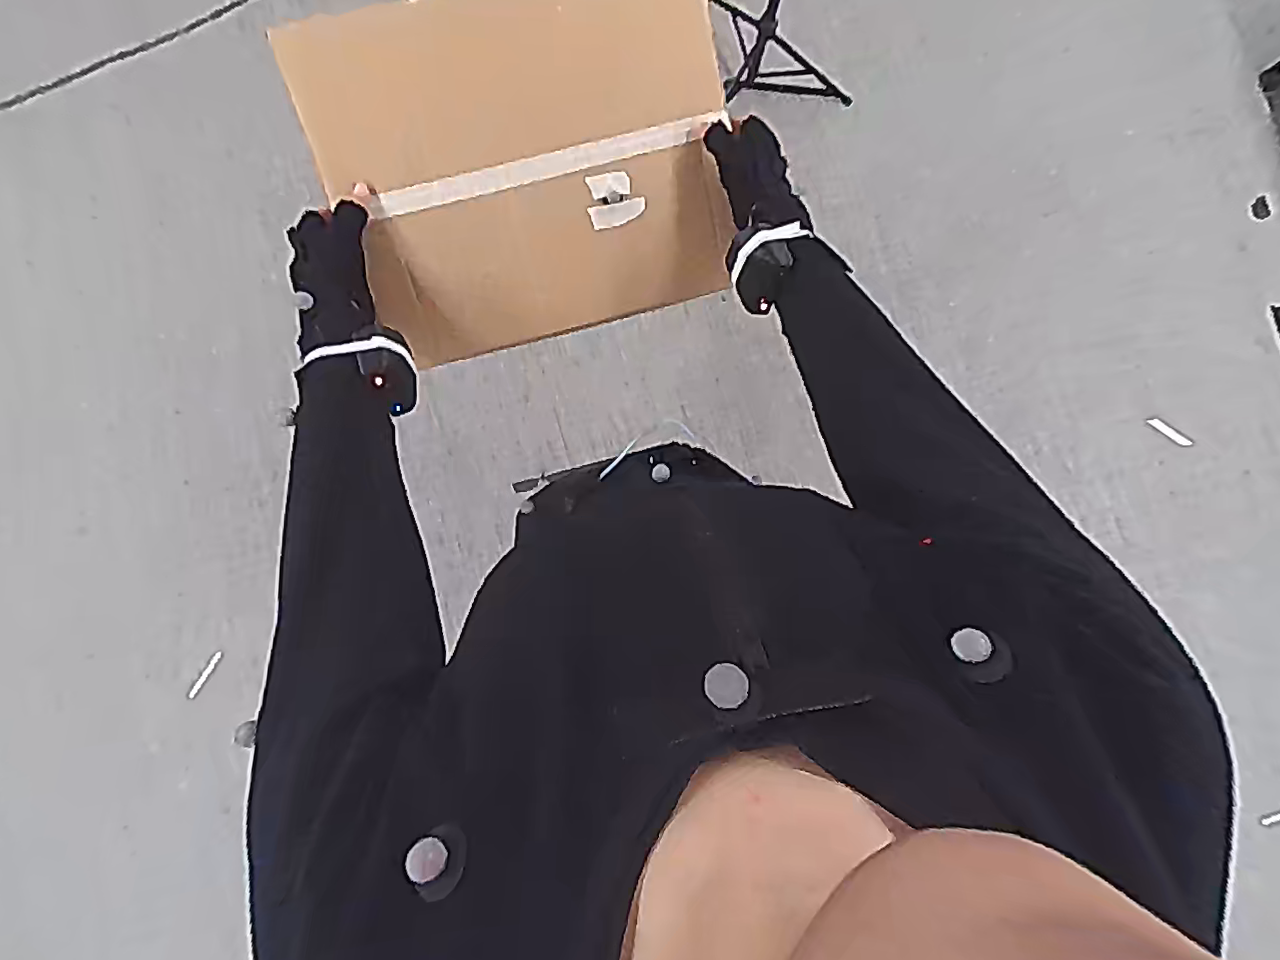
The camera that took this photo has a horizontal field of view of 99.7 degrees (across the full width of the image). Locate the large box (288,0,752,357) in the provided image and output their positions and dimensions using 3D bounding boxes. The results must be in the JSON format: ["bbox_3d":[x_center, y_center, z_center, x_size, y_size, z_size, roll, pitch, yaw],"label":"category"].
[{"bbox_3d":[-0.122,-0.362,0.691,0.408,0.320,0.320,-16,107,-5],"label":"large box"}]
